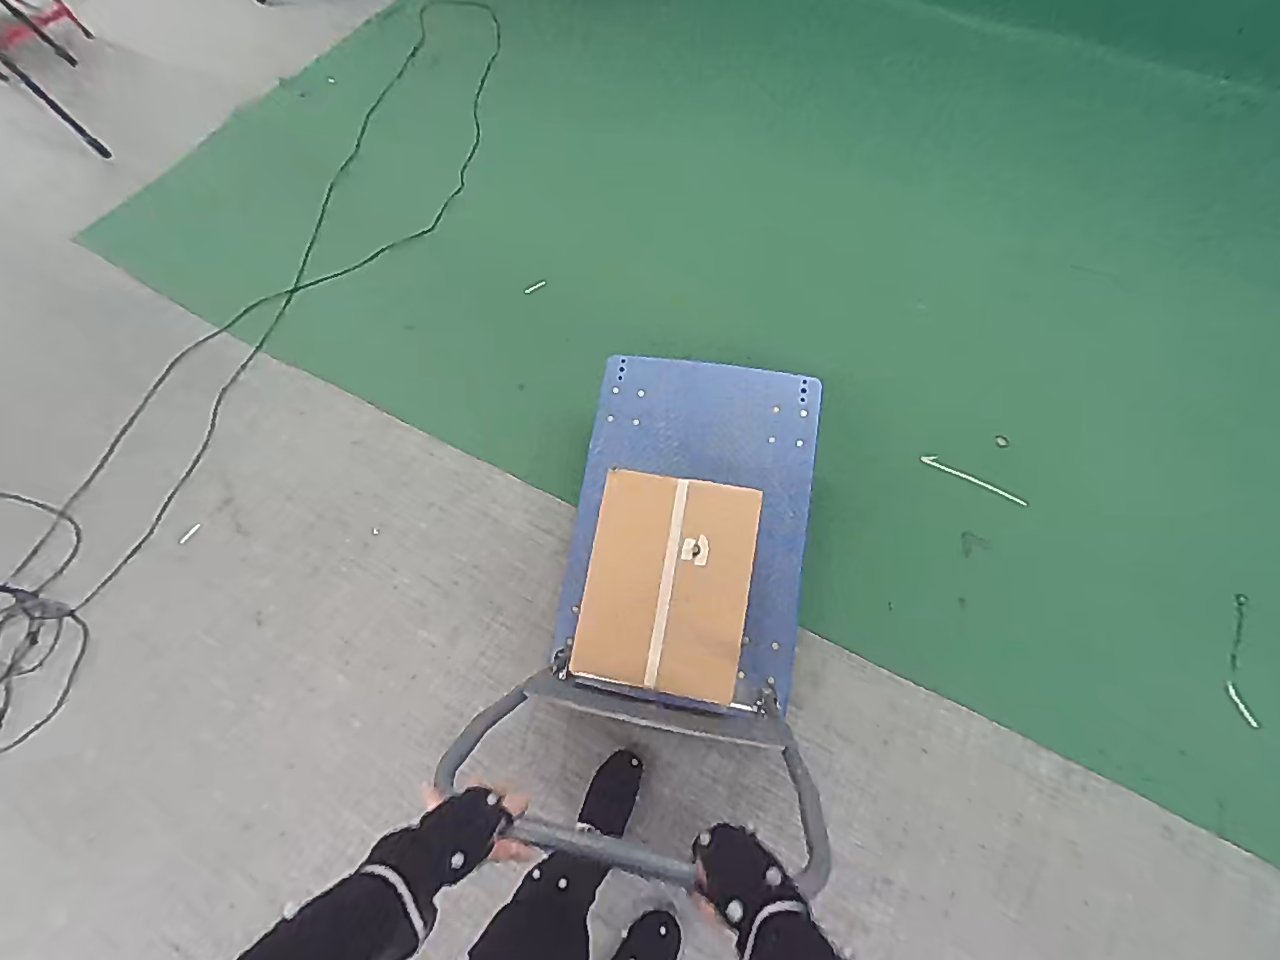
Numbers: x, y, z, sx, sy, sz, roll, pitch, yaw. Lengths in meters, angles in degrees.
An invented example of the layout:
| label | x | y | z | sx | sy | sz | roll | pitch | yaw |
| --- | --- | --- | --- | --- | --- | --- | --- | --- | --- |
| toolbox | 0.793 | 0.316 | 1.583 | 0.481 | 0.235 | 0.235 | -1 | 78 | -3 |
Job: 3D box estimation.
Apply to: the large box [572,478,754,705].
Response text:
| label | x | y | z | sx | sy | sz | roll | pitch | yaw |
| --- | --- | --- | --- | --- | --- | --- | --- | --- | --- |
| large box | 0.067 | 0.238 | 1.200 | 0.320 | 0.320 | 0.408 | 9 | 79 | 9 |
